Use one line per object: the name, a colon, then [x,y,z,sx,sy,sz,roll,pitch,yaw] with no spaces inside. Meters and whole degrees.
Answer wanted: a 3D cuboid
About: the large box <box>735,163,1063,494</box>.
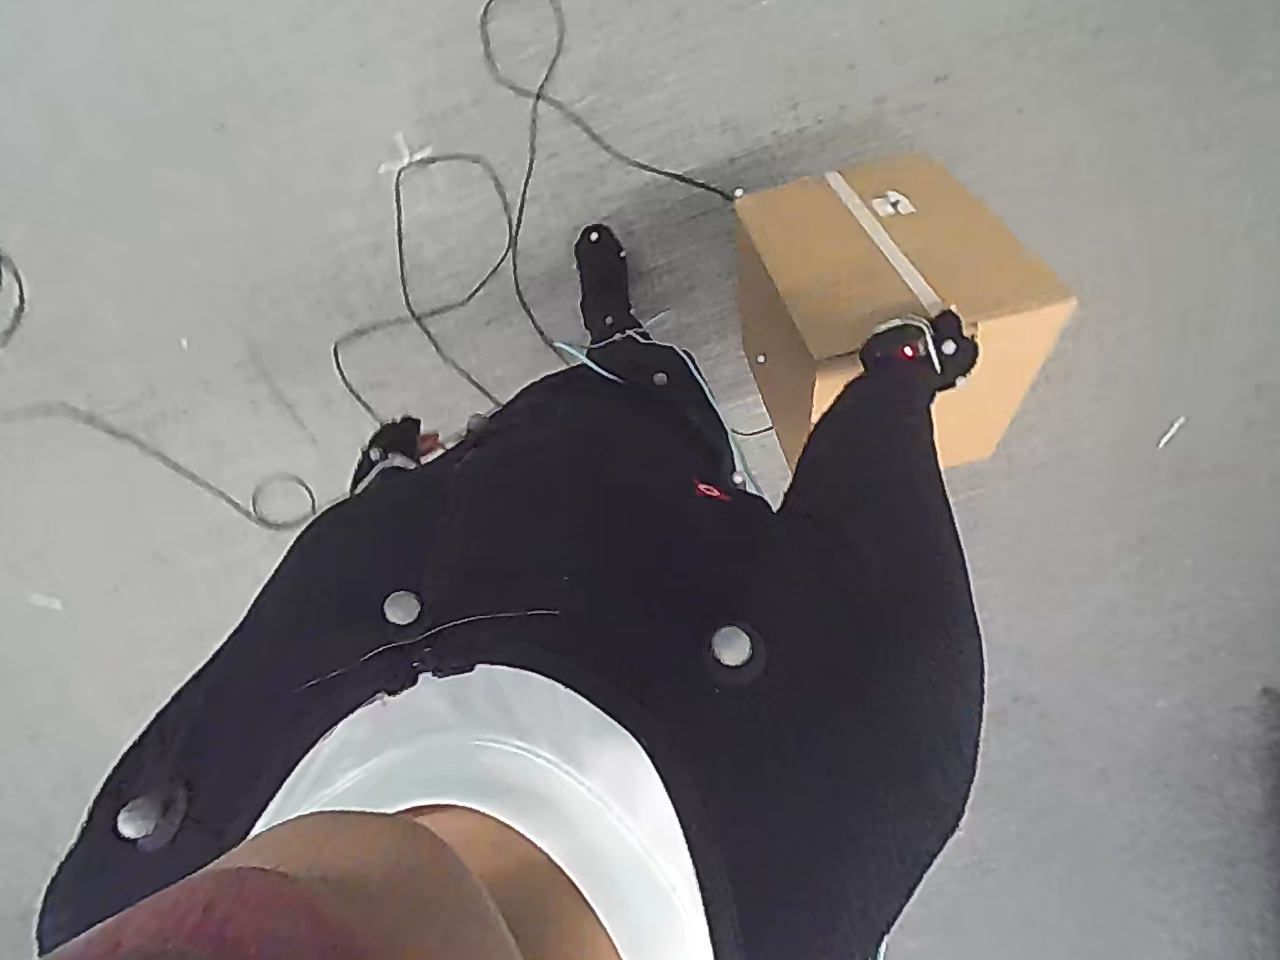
large box: [0.366,-0.246,0.897,0.320,0.408,0.320,-13,142,3]
